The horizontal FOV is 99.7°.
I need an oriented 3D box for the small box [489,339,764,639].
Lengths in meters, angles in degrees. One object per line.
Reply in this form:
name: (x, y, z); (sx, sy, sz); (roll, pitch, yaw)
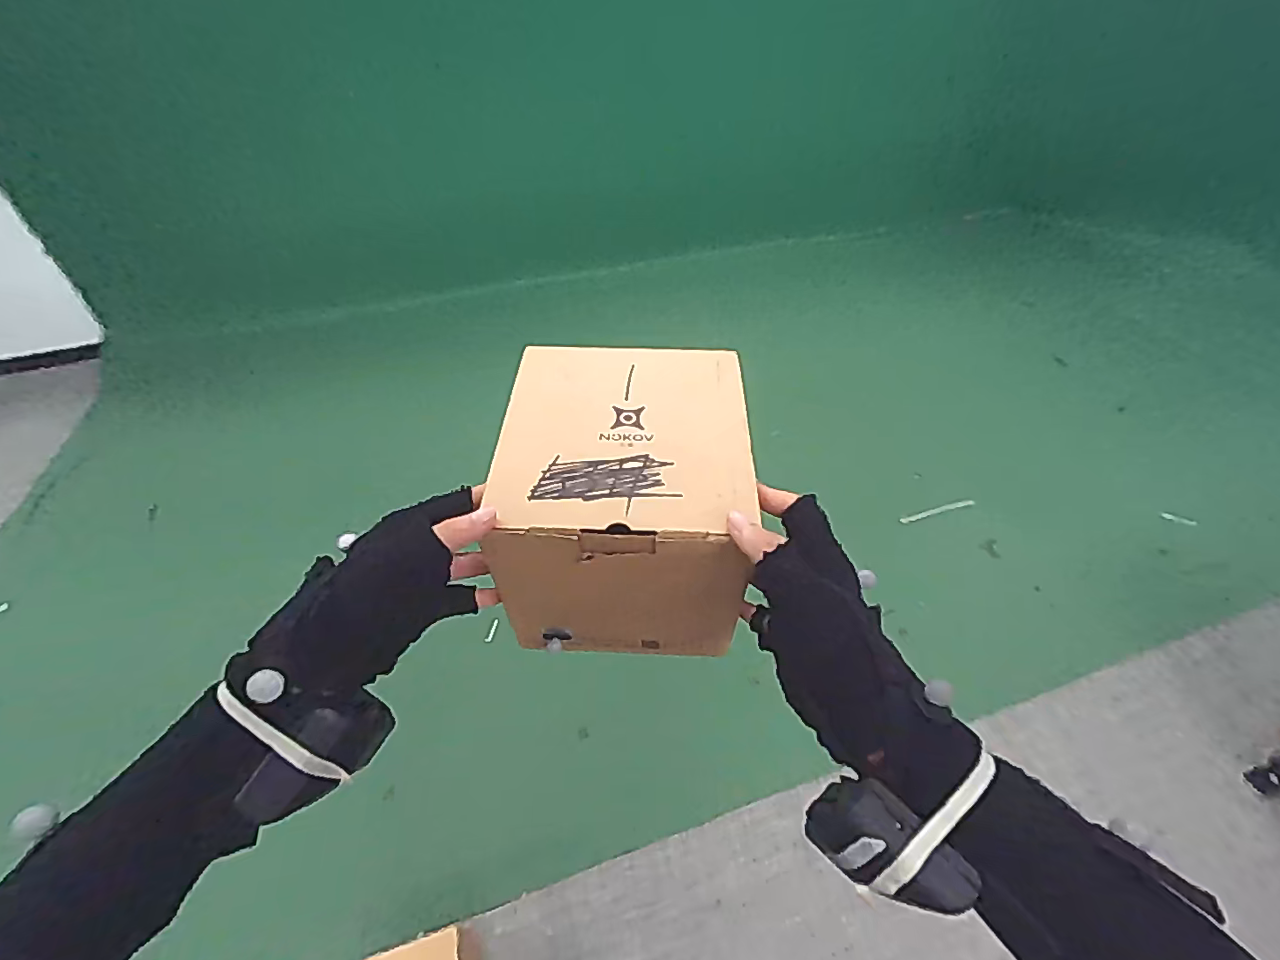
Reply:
small box: (-0.003, 0.010, 0.427); (0.168, 0.176, 0.179); (2, 48, 2)

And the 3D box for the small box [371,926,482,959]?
small box: (-0.403, 0.987, 1.021); (0.179, 0.176, 0.168); (-14, 46, -12)
